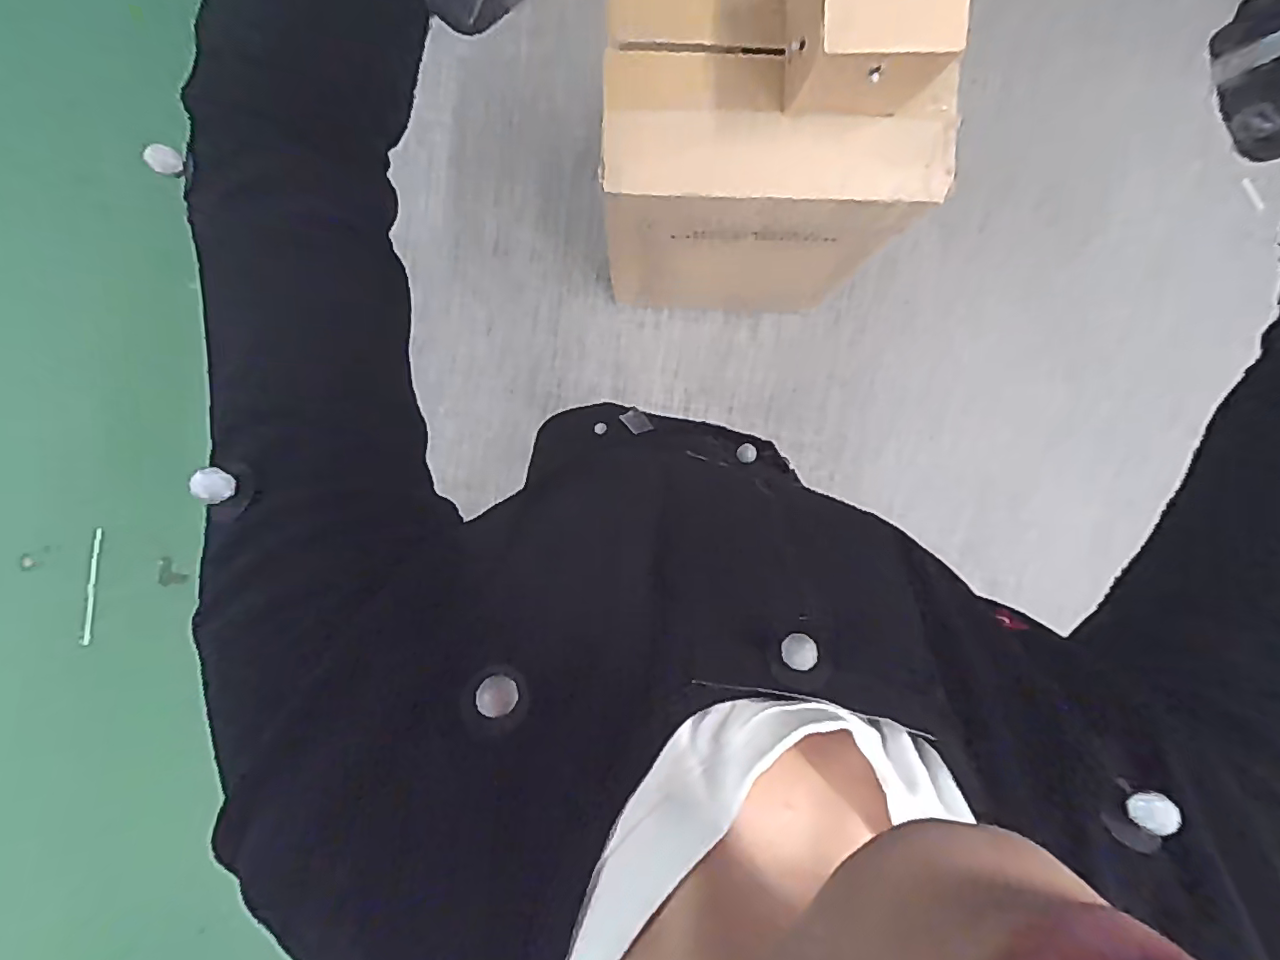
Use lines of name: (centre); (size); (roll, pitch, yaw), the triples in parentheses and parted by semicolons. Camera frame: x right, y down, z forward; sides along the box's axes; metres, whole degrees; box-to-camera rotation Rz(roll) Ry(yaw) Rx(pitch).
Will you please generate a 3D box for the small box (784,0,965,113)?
small box: (0.297, -0.610, 0.713); (0.179, 0.176, 0.168); (-2, 102, -2)
